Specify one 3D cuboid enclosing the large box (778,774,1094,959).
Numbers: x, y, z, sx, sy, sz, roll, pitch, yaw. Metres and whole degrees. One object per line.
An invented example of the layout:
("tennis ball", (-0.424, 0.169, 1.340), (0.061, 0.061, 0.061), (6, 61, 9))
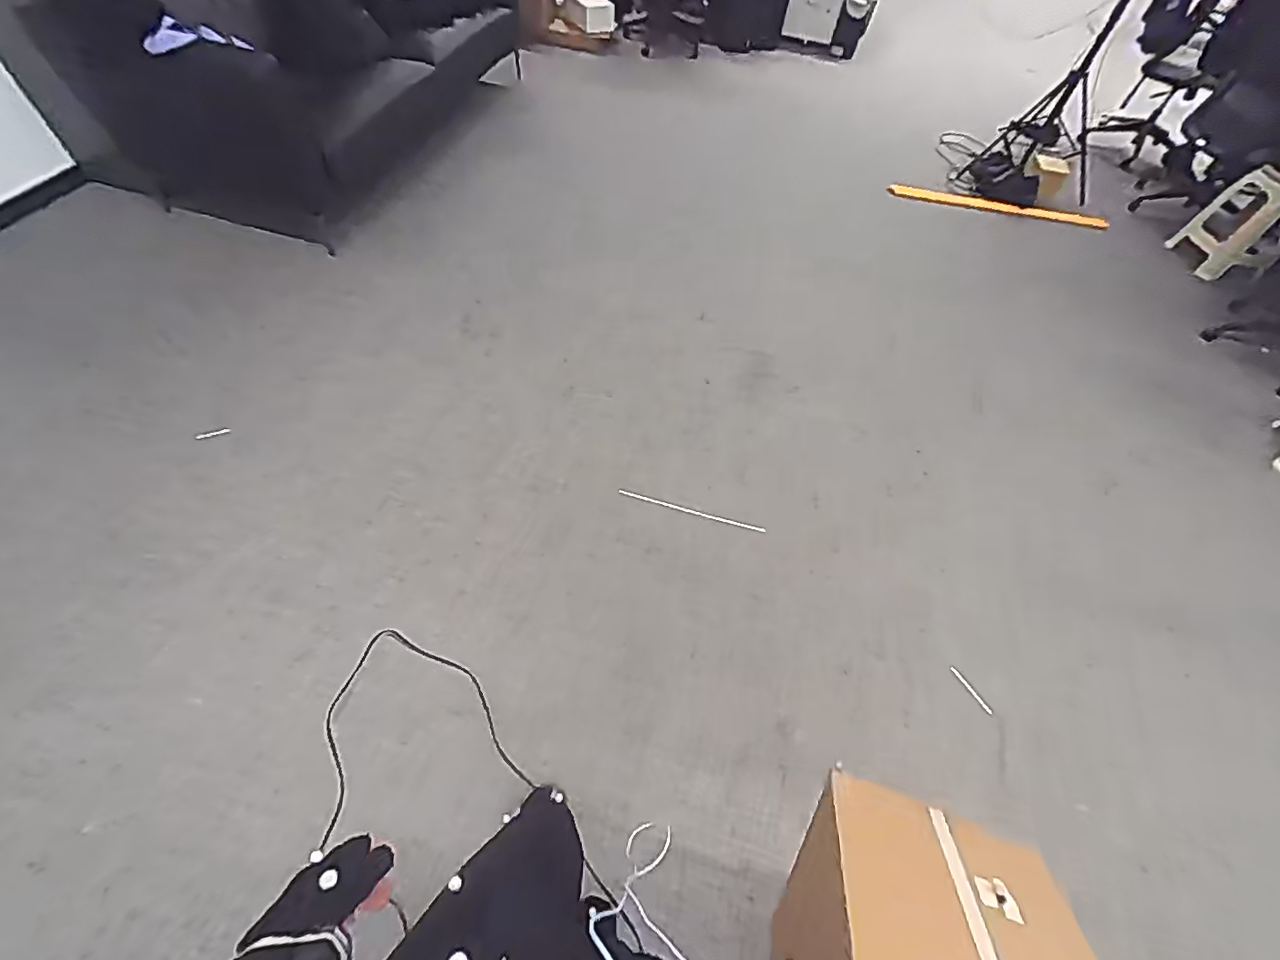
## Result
("large box", (0.366, 0.689, 0.684), (0.320, 0.320, 0.408), (18, 14, 12))
